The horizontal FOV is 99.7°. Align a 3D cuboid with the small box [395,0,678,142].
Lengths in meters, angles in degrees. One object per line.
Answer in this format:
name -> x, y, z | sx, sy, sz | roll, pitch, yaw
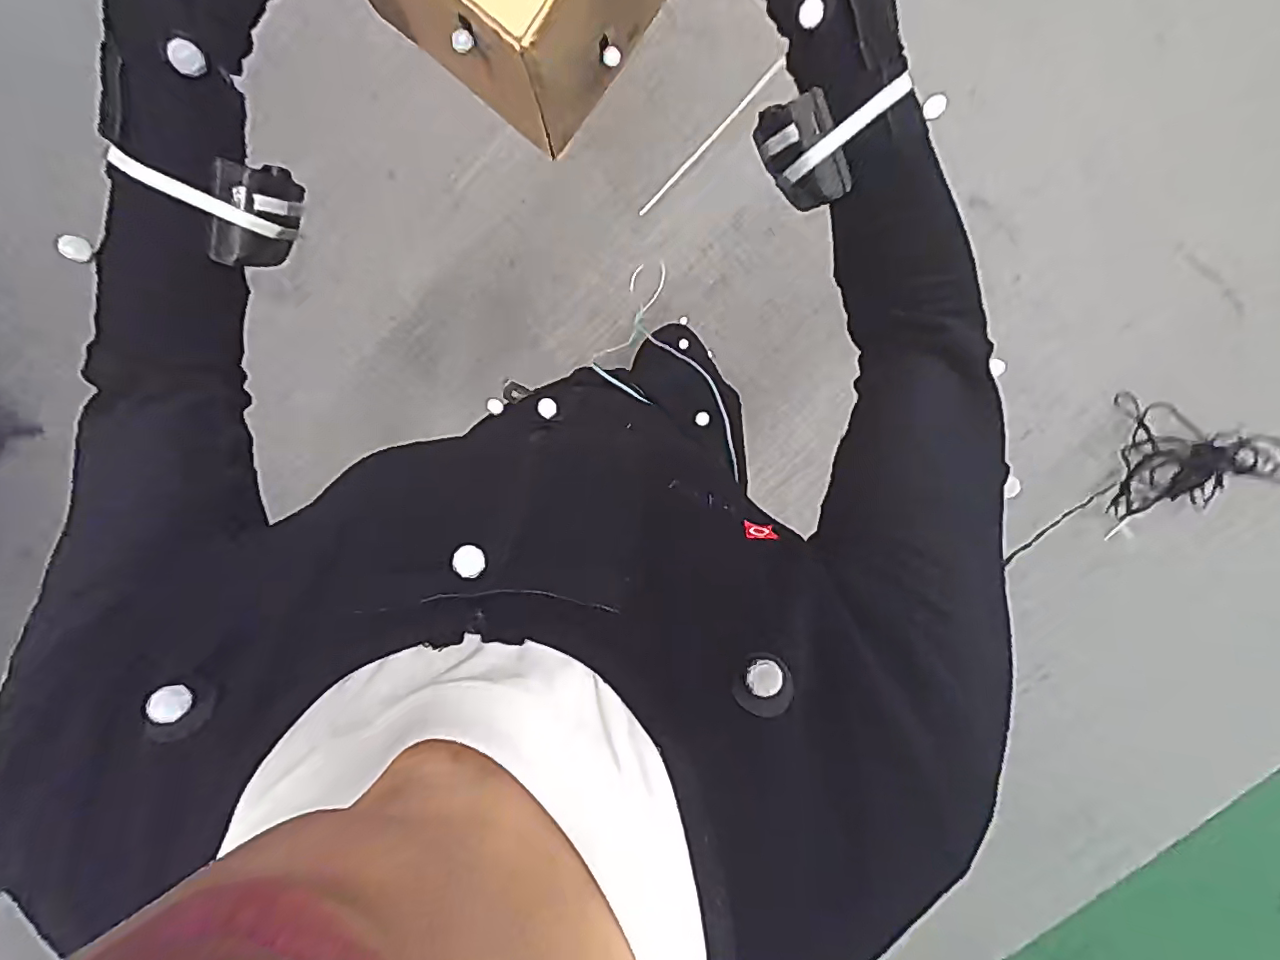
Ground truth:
small box -> -0.075, -0.366, 0.347 | 0.179, 0.176, 0.168 | 37, 99, -10
